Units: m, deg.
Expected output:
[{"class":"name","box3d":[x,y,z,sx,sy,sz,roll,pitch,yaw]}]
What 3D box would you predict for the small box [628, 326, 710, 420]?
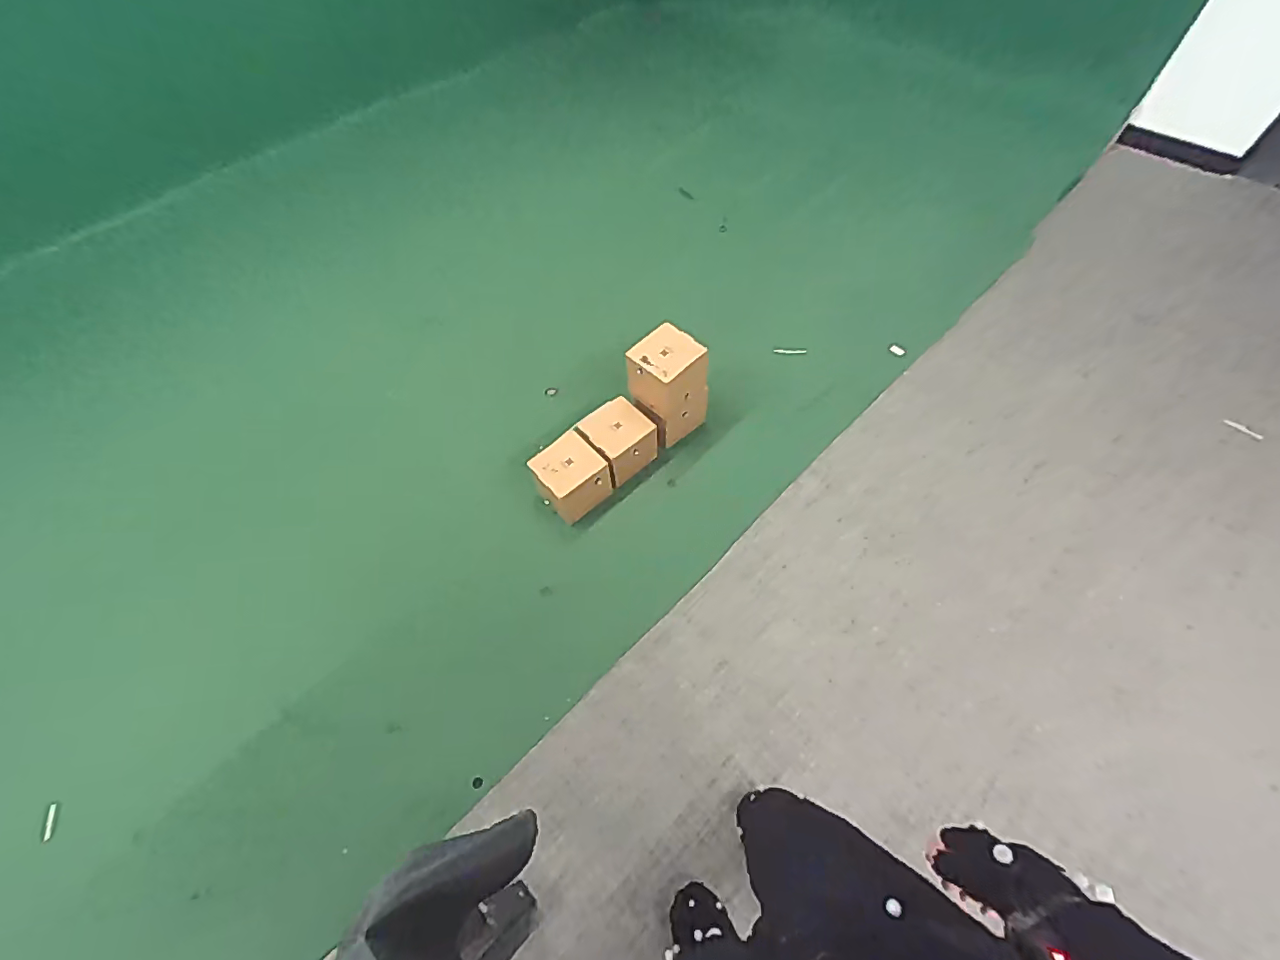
[{"class":"small box","box3d":[0.083,-0.313,1.592,0.179,0.176,0.168,-40,65,-20]}]
